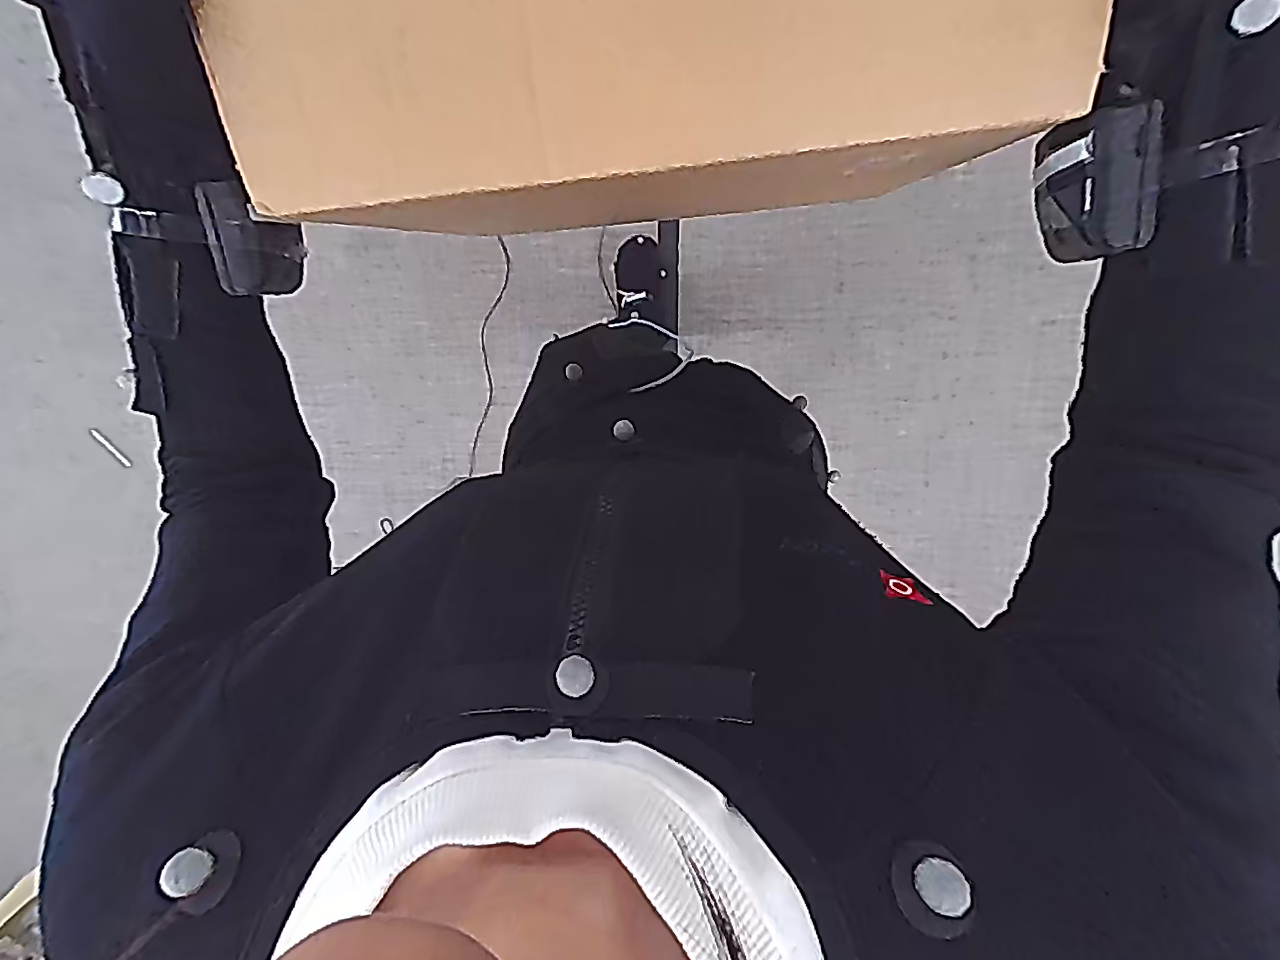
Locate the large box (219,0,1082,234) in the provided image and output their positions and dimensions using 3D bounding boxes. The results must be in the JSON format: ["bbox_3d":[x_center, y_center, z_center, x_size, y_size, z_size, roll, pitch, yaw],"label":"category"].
[{"bbox_3d":[-0.003,-0.360,0.356,0.408,0.320,0.320,-3,112,8],"label":"large box"}]
